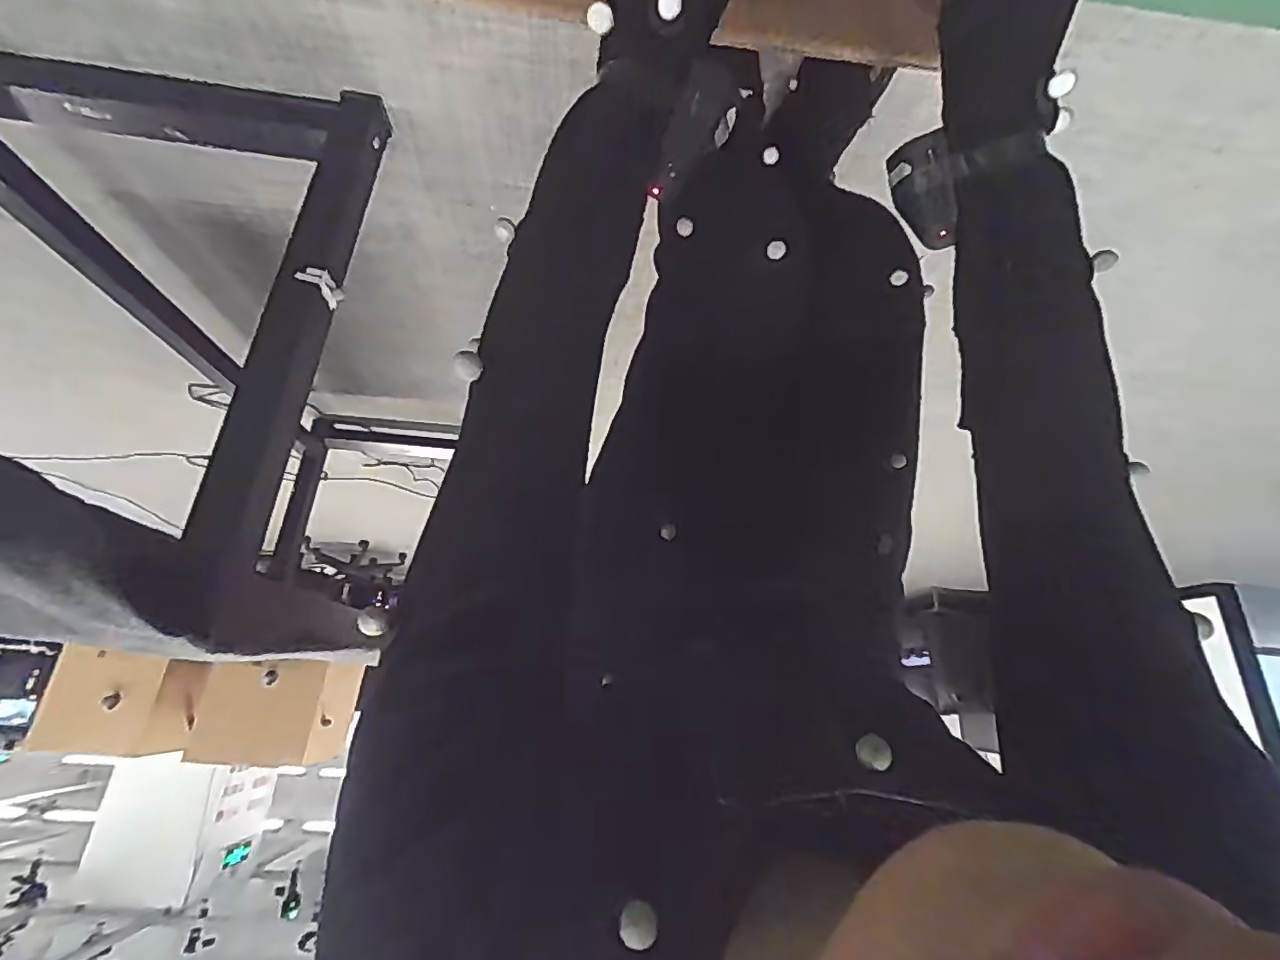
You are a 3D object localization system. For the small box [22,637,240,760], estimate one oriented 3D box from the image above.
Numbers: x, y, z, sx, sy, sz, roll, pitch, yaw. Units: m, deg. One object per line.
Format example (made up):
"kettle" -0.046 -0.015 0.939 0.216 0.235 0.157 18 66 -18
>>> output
"small box" -0.805 0.348 0.880 0.168 0.176 0.179 4 160 -2
